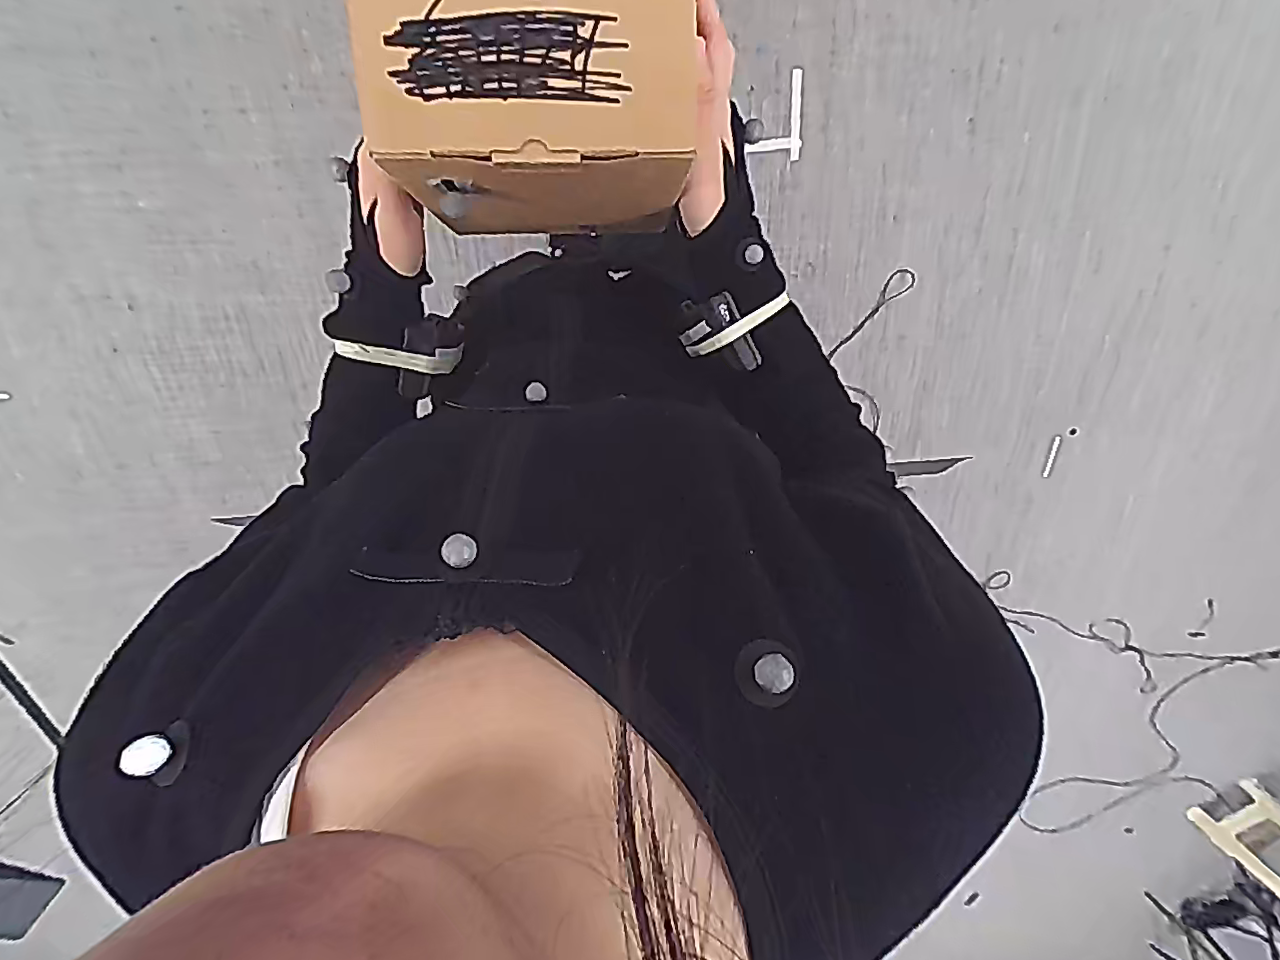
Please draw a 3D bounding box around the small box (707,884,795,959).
[{"bbox_3d":[0.254,1.076,1.248,0.168,0.176,0.179,-8,118,-3],"label":"small box"}]
